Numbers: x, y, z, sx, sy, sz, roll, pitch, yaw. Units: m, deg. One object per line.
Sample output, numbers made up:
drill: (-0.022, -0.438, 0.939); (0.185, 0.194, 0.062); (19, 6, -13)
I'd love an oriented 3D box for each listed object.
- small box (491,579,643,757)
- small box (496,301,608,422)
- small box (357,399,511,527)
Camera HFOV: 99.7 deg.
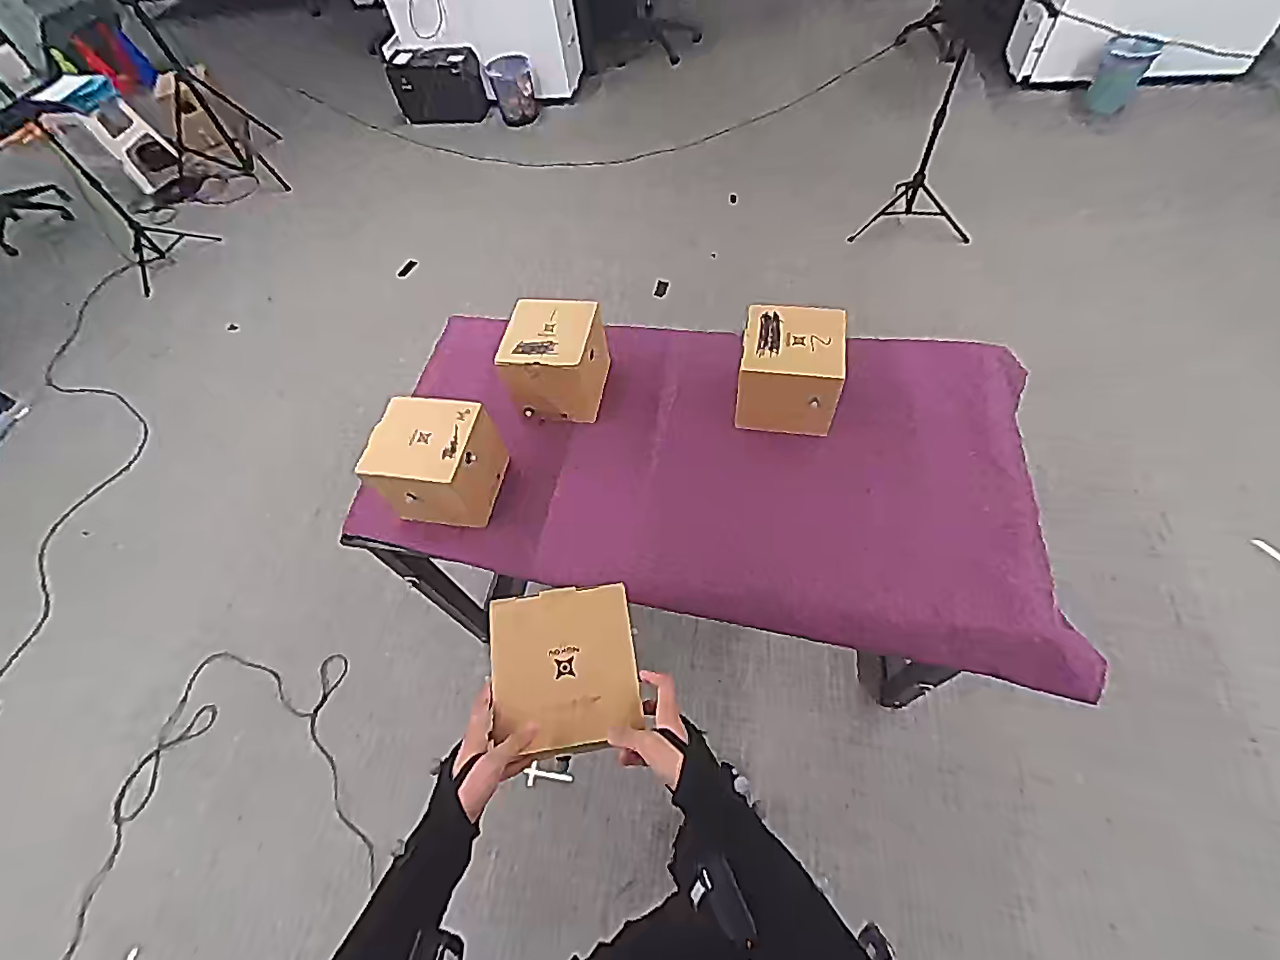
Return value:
small box: (-0.095, 0.244, 0.693); (0.168, 0.176, 0.179); (-6, 62, -8)
small box: (-0.166, -0.235, 1.093); (0.168, 0.176, 0.179); (5, 59, 10)
small box: (-0.361, -0.028, 0.984); (0.179, 0.176, 0.168); (6, 60, 11)
